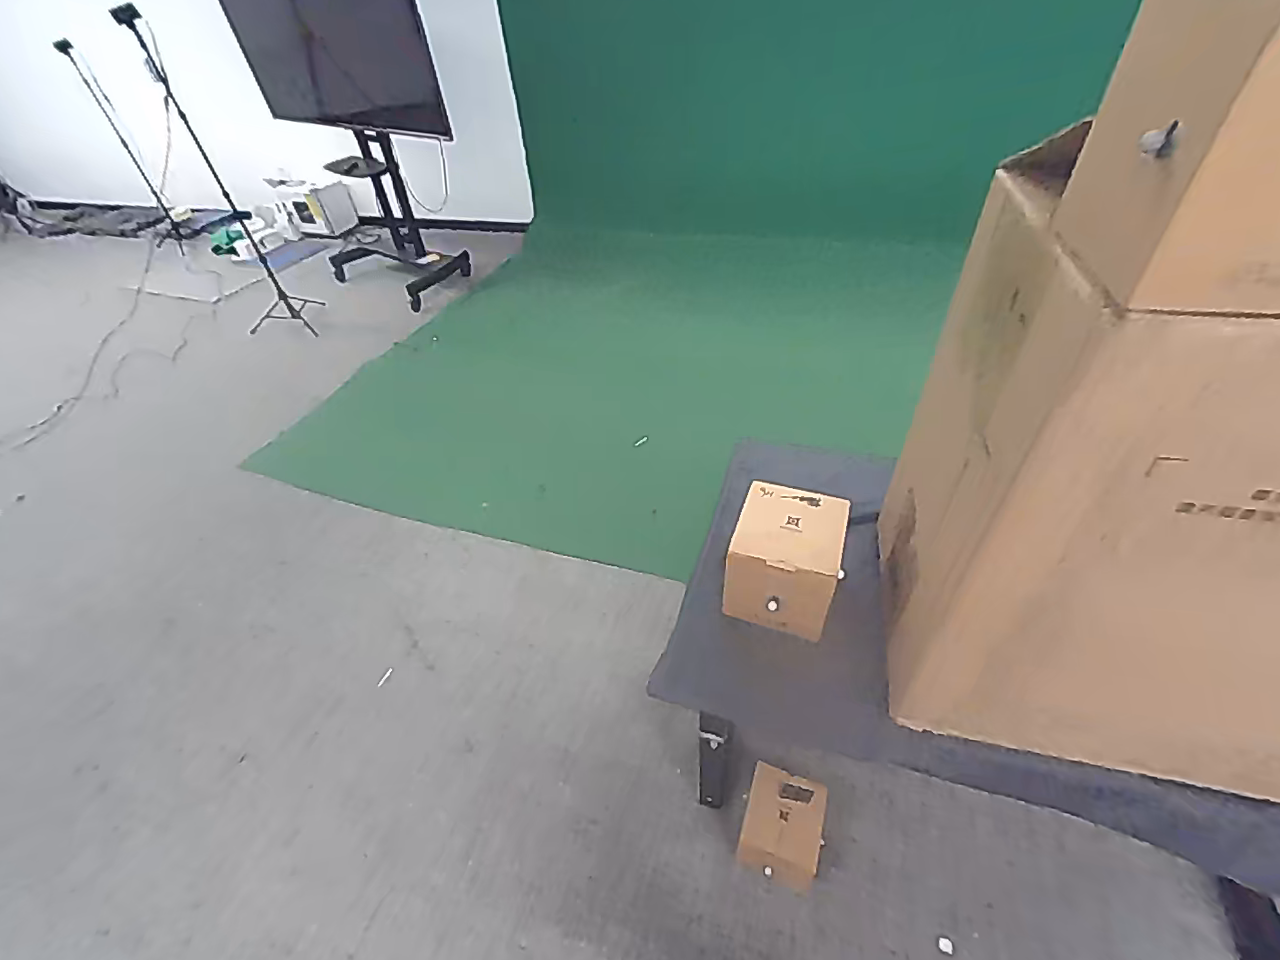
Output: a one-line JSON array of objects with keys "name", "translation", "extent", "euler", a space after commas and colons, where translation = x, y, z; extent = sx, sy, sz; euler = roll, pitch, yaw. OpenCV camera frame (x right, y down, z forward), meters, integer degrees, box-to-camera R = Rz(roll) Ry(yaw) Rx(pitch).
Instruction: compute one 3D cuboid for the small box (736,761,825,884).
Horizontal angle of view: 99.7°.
[{"name": "small box", "translation": [0.326, 0.806, 1.274], "extent": [0.168, 0.176, 0.179], "euler": [12, 47, 19]}]
